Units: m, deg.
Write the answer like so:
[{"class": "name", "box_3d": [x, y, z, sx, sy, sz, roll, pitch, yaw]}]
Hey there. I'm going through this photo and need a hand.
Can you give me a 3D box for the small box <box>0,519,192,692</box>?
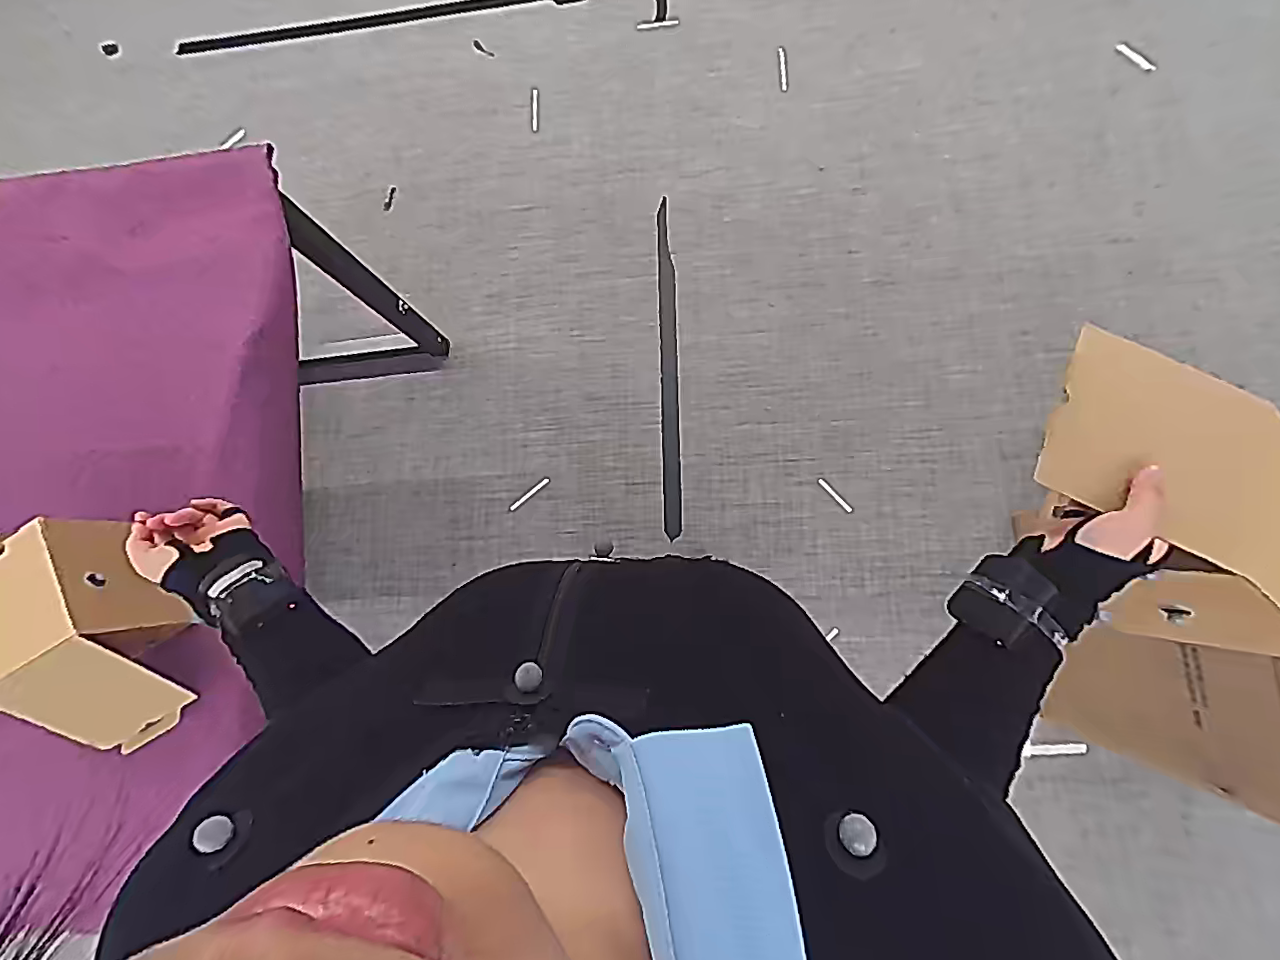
[{"class": "small box", "box_3d": [-0.805, 0.174, 0.781, 0.168, 0.176, 0.179, -30, 78, 1]}]
